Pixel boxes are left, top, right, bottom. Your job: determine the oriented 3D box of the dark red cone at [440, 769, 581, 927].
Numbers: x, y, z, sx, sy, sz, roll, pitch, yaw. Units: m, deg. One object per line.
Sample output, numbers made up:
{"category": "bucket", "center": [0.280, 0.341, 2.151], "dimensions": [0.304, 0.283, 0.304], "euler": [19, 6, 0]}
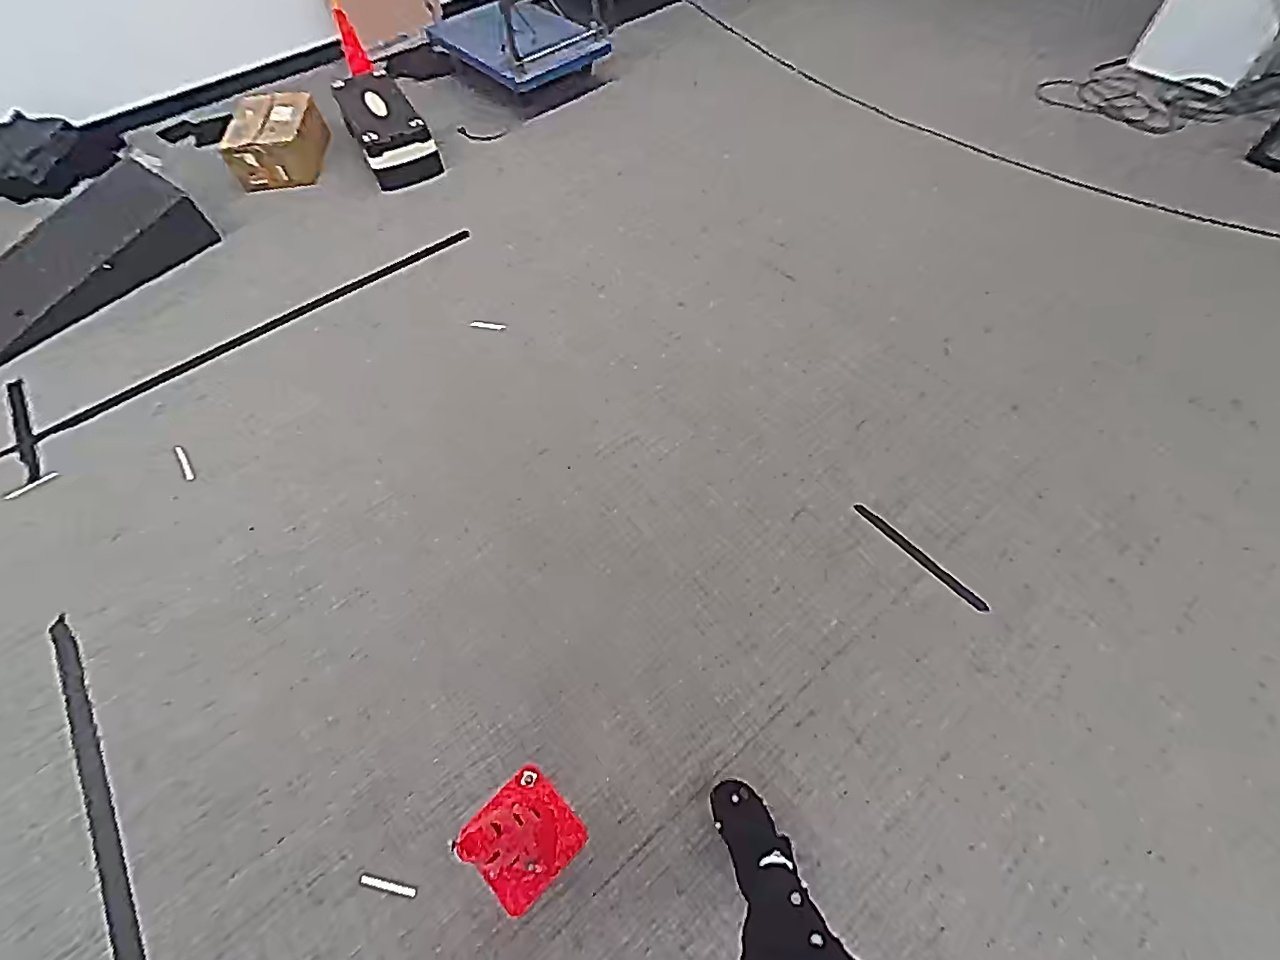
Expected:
{"category": "dark red cone", "center": [-0.252, 0.634, 0.929], "dimensions": [0.202, 0.394, 0.201], "euler": [38, 69, 23]}
